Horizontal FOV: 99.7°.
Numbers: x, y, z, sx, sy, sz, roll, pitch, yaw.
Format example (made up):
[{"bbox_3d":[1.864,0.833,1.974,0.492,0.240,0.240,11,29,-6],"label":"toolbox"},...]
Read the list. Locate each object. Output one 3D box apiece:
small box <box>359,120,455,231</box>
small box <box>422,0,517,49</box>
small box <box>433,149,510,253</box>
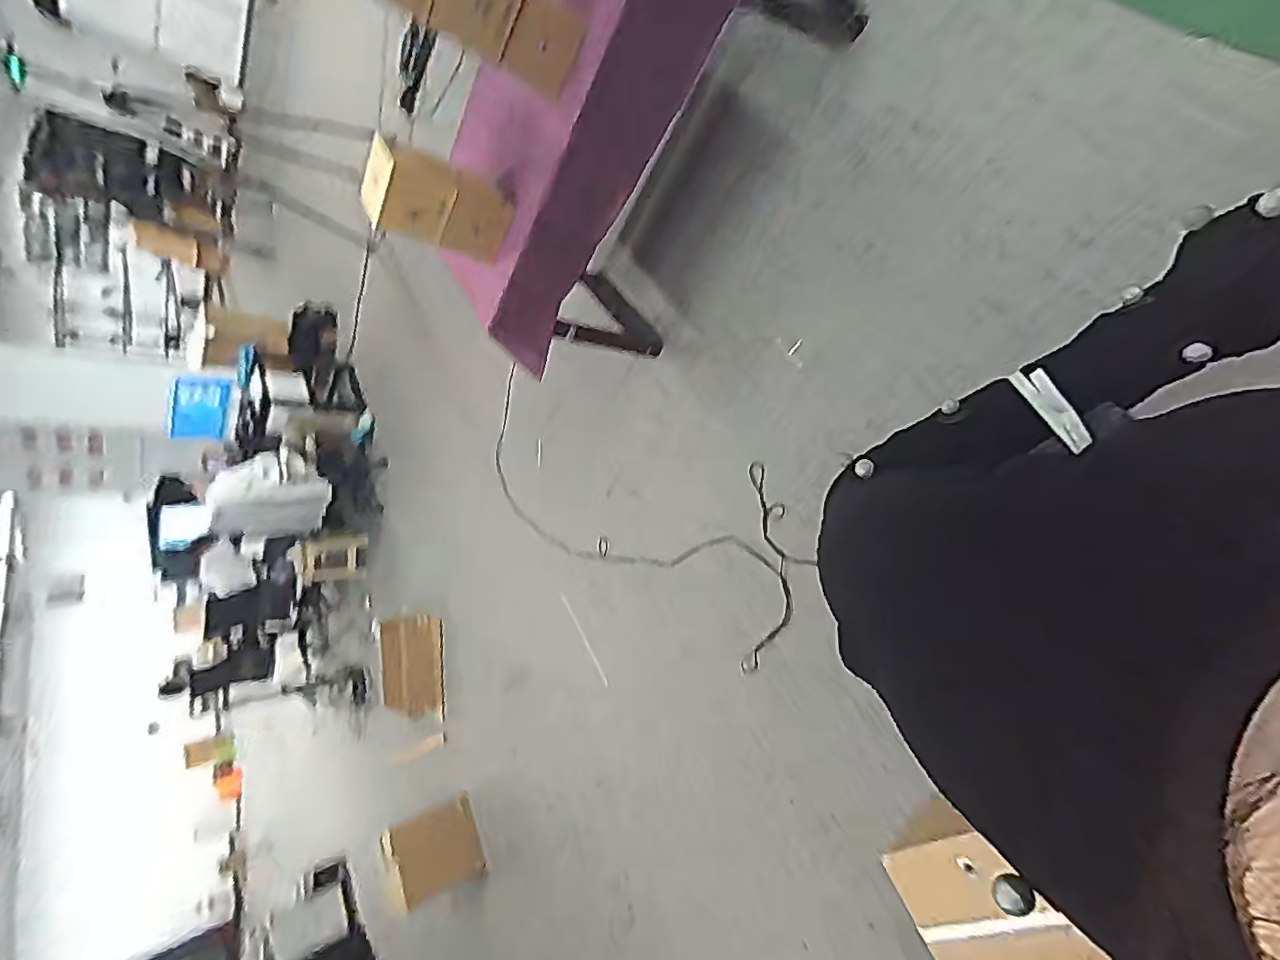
[{"bbox_3d":[-0.597,-0.769,1.387,0.168,0.176,0.179,-51,56,32],"label":"small box"},{"bbox_3d":[-0.373,-1.079,1.159,0.168,0.176,0.179,-48,60,34],"label":"small box"},{"bbox_3d":[-0.482,-0.767,1.502,0.179,0.176,0.168,-53,56,32],"label":"small box"}]
